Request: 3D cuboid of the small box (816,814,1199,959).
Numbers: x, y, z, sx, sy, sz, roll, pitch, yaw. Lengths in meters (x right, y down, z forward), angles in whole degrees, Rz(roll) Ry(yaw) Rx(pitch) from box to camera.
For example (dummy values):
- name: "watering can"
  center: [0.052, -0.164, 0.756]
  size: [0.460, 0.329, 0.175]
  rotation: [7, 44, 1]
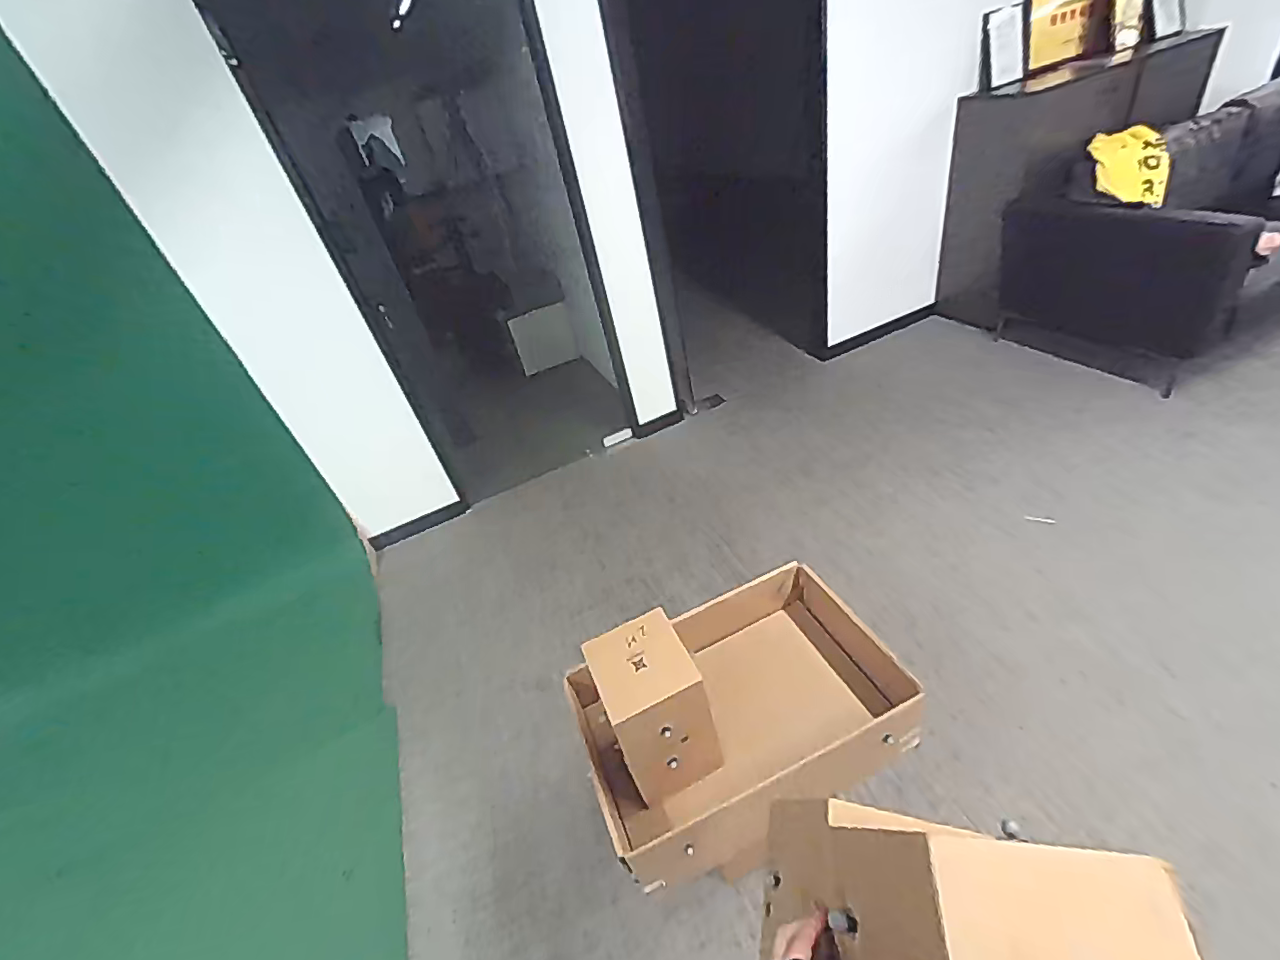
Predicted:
- name: "small box"
  center: [0.245, 0.341, 0.382]
  size: [0.179, 0.176, 0.168]
  rotation: [9, 57, -3]

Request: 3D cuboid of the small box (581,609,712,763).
- name: "small box"
  center: [0.014, 0.373, 0.970]
  size: [0.168, 0.176, 0.179]
  rotation: [-23, 37, -10]
